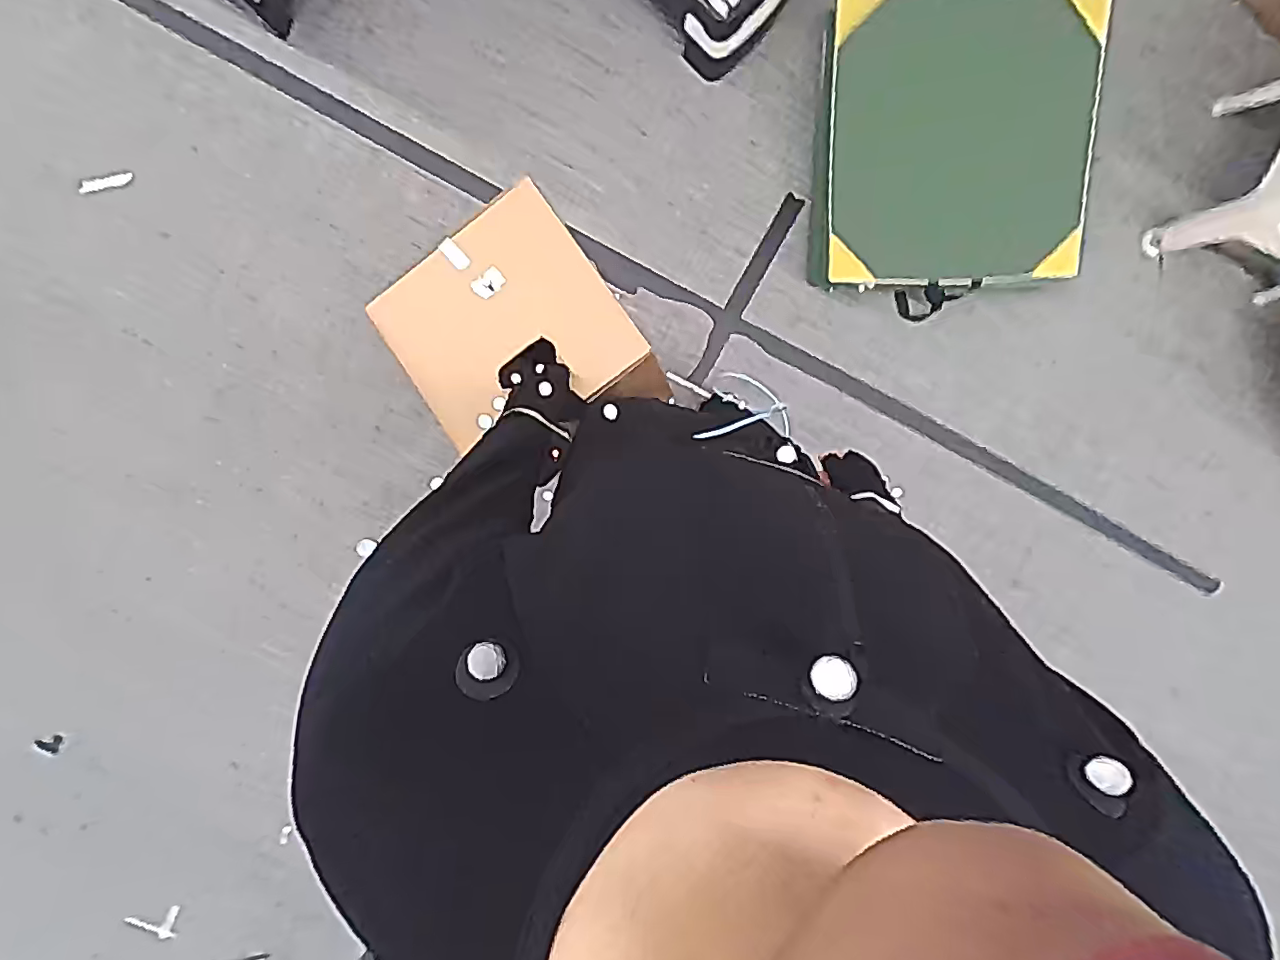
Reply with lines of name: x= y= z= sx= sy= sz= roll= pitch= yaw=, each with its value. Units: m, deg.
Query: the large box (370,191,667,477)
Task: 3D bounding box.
large box: x=-0.179 y=-0.220 z=0.977 sx=0.320 sy=0.408 sz=0.320 roll=-34 pitch=87 yaw=7
